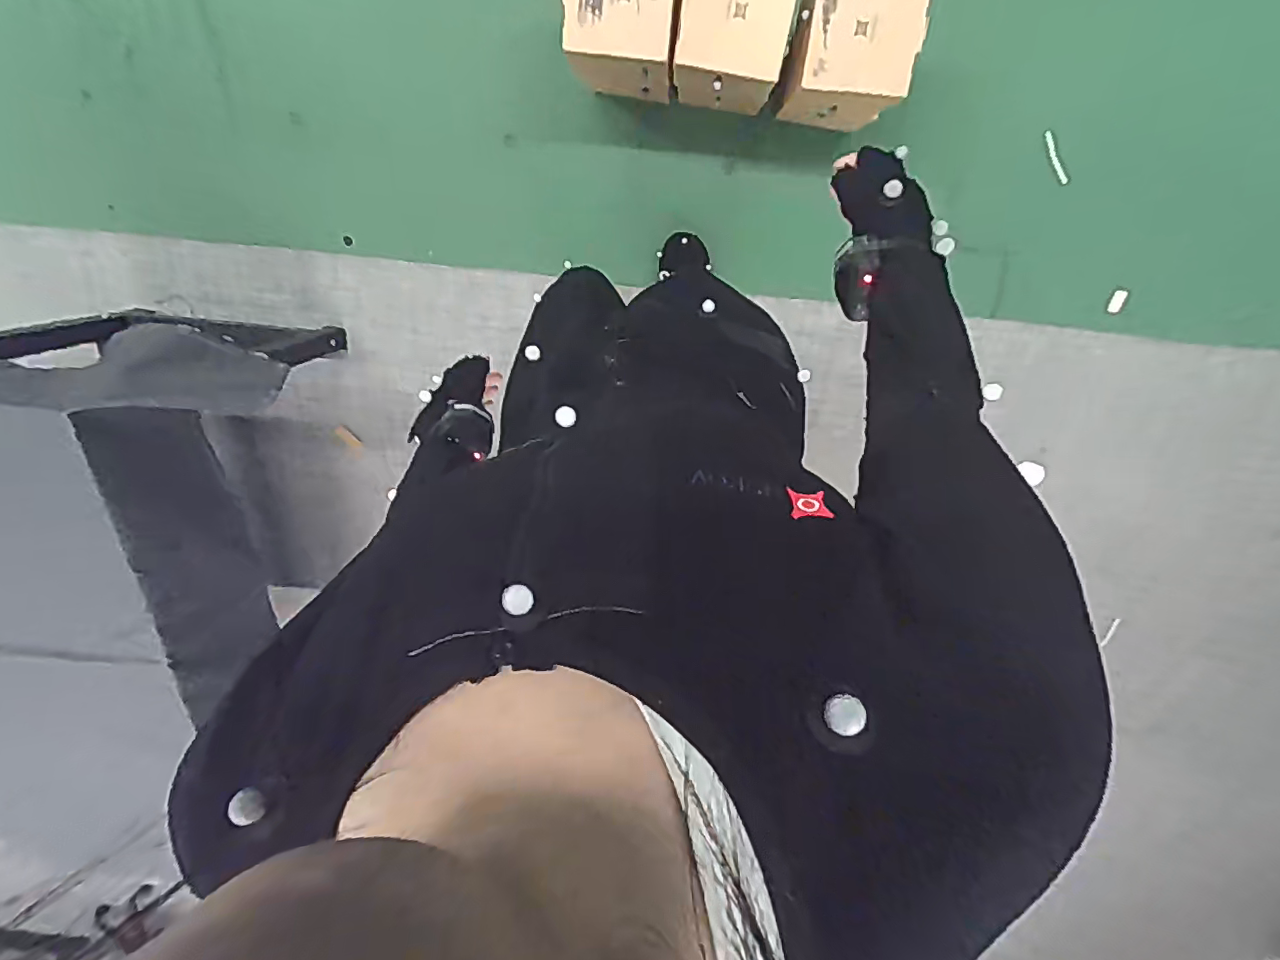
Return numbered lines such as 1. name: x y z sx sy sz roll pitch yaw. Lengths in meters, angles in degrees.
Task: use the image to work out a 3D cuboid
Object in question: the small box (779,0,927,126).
1. small box: 0.354 -0.726 0.932 0.179 0.176 0.168 7 115 1
